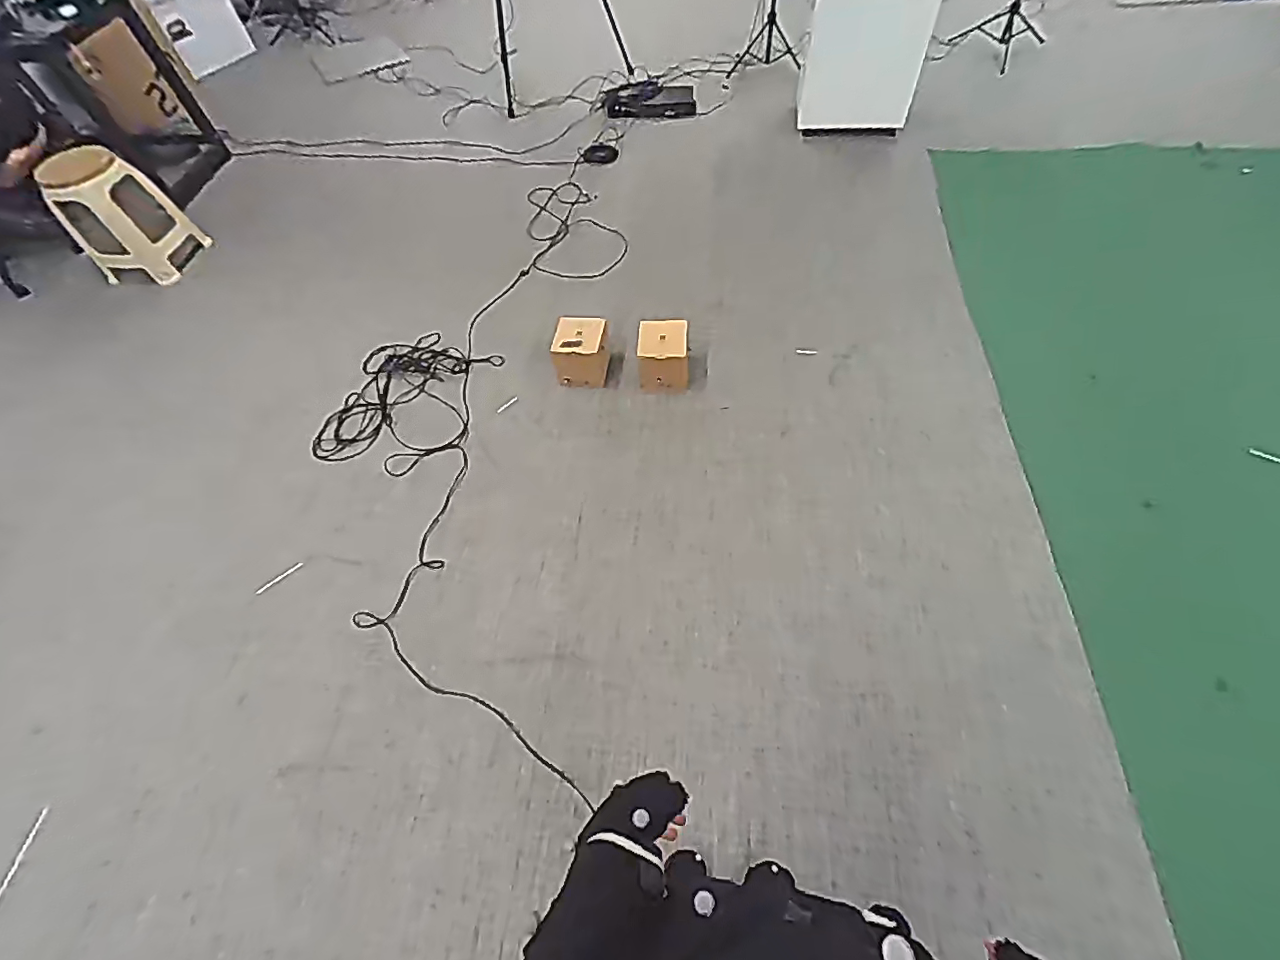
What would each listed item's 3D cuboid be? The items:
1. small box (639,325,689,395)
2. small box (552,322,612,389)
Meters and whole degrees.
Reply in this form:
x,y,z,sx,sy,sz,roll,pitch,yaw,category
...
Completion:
x,y,z,sx,sy,sz,roll,pitch,yaw,category
0.086,-0.423,1.906,0.168,0.176,0.179,1,58,6,small box
-0.201,-0.444,1.943,0.168,0.176,0.179,5,57,8,small box
